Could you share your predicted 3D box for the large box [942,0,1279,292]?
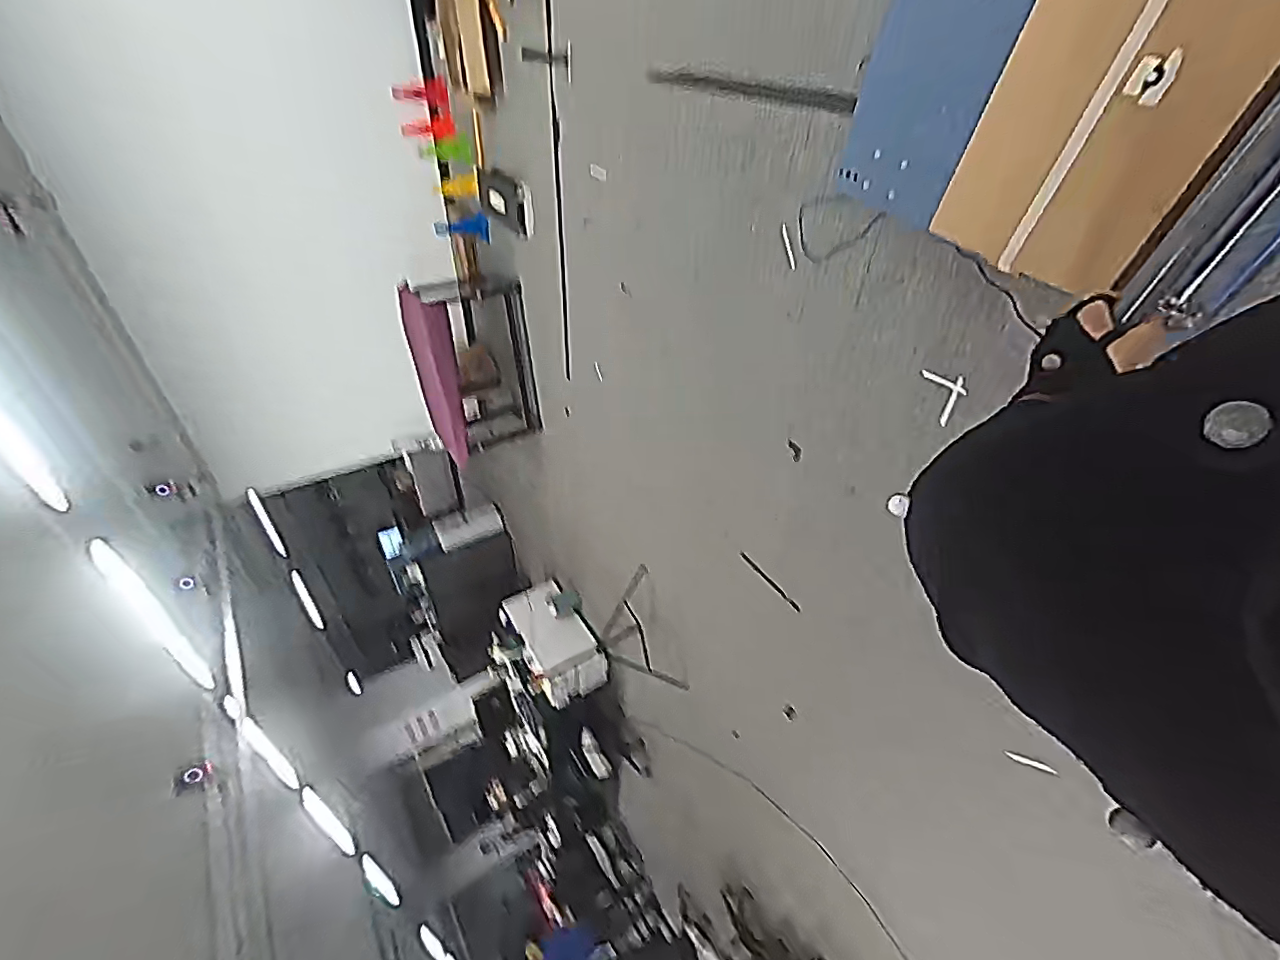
[{"bbox_3d":[0.778,-0.562,0.840,0.320,0.320,0.408,49,146,33],"label":"large box"}]
